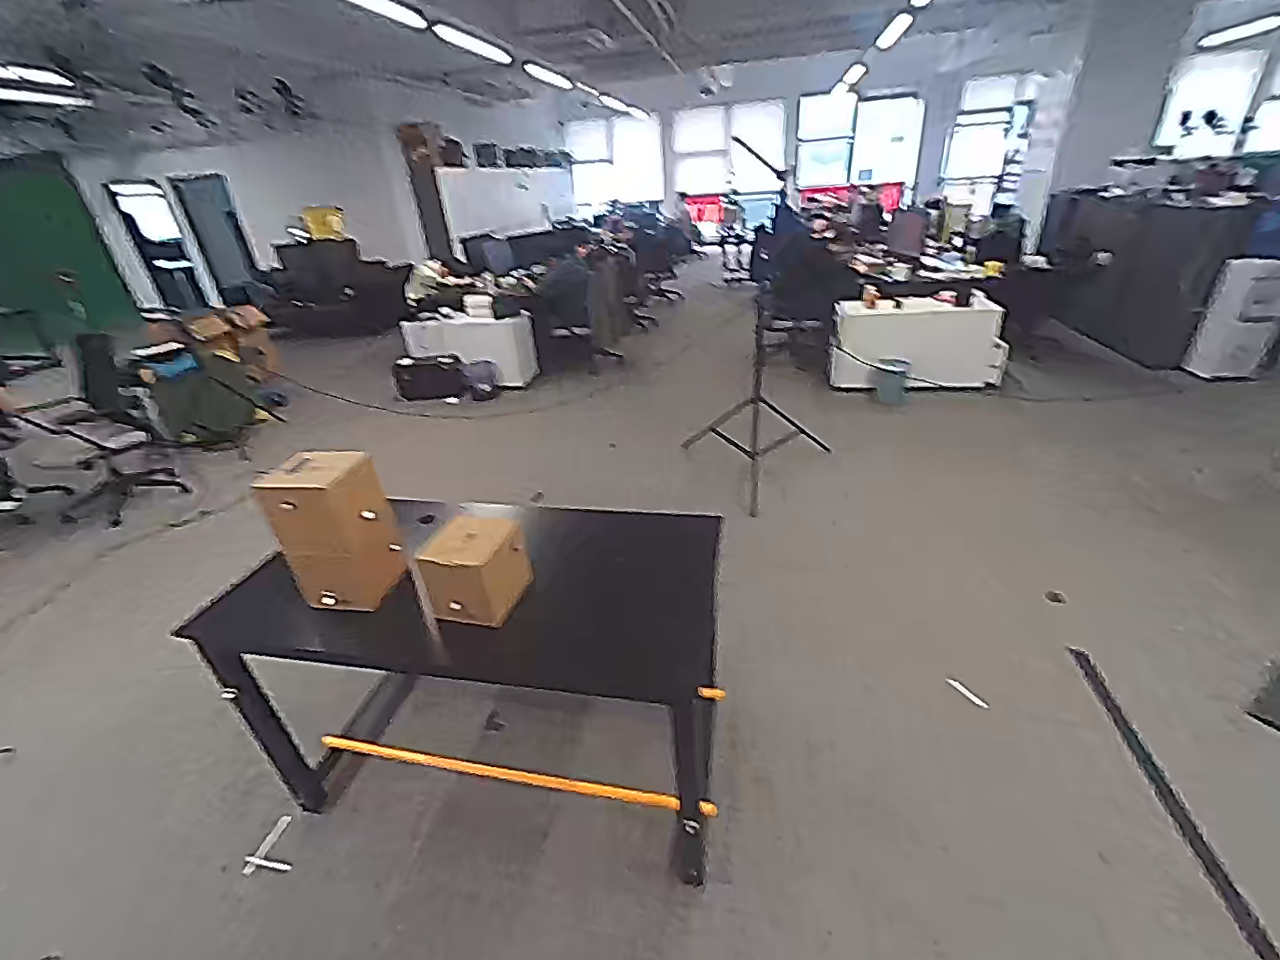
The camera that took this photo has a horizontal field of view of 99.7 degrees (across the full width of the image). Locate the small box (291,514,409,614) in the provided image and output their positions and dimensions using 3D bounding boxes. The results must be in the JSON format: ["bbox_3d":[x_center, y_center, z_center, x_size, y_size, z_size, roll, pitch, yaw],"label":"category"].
[{"bbox_3d":[-0.680,0.197,1.298,0.168,0.176,0.179,-1,30,9],"label":"small box"}]

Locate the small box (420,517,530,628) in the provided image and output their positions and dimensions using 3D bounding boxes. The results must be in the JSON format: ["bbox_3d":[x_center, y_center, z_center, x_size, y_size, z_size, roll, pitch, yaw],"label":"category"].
[{"bbox_3d":[-0.363,0.206,1.229,0.168,0.176,0.179,4,30,16],"label":"small box"}]

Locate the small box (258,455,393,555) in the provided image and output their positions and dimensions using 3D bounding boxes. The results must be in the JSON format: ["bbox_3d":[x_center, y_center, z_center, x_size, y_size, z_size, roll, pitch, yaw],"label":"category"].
[{"bbox_3d":[-0.695,0.055,1.216,0.179,0.176,0.168,0,29,9],"label":"small box"}]
